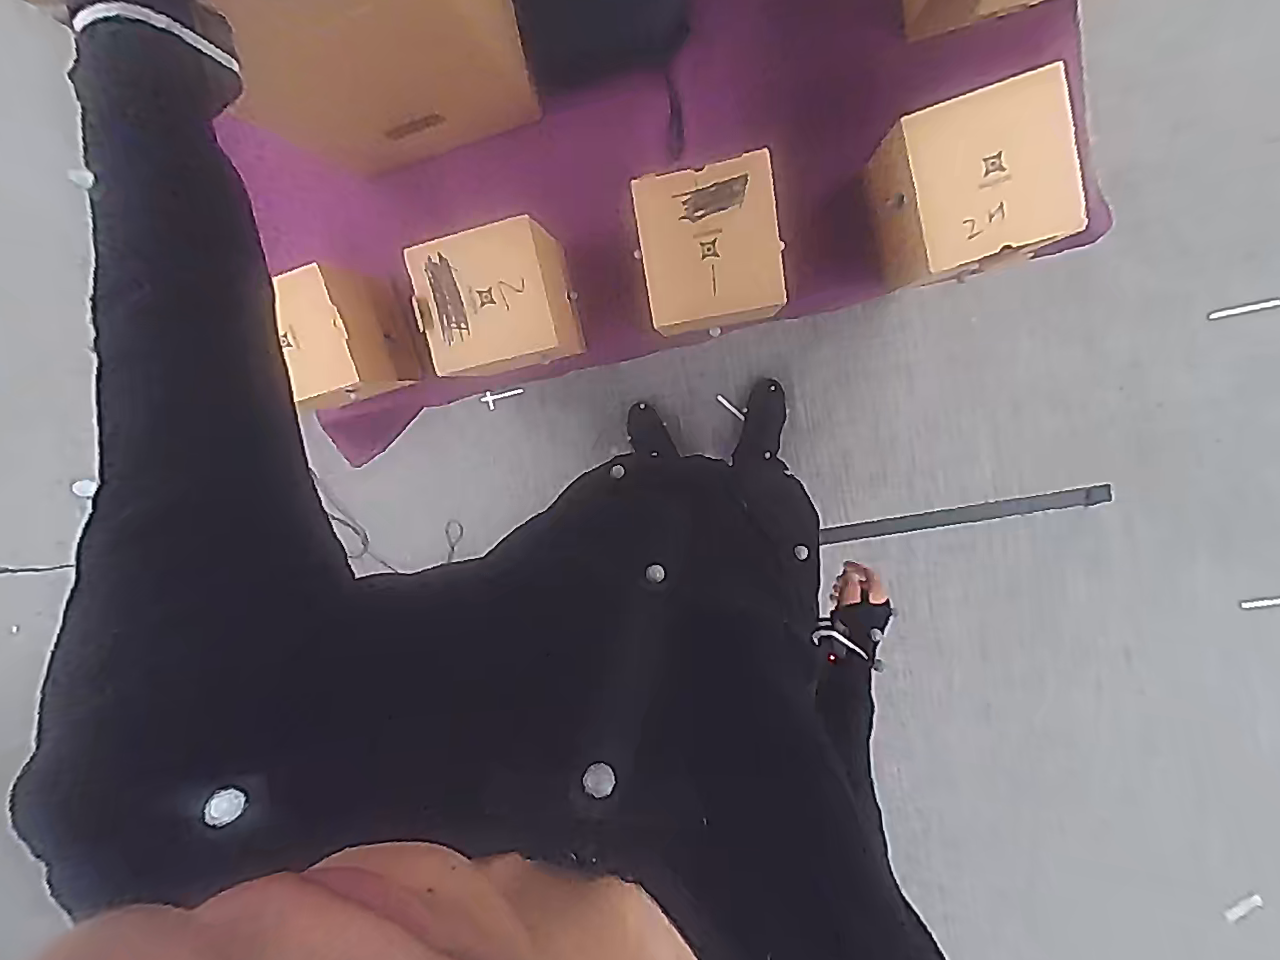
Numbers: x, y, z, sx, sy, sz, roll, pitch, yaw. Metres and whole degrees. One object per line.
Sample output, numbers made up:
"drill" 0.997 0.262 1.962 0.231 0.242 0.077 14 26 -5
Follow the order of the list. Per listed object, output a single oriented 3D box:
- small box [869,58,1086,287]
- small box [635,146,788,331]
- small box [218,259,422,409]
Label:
"small box" 0.399 -0.358 0.669 0.168 0.176 0.179 -13 100 12
"small box" 0.095 -0.305 0.723 0.168 0.176 0.179 -8 101 10
"small box" -0.470 -0.211 0.820 0.179 0.176 0.168 -15 99 9
